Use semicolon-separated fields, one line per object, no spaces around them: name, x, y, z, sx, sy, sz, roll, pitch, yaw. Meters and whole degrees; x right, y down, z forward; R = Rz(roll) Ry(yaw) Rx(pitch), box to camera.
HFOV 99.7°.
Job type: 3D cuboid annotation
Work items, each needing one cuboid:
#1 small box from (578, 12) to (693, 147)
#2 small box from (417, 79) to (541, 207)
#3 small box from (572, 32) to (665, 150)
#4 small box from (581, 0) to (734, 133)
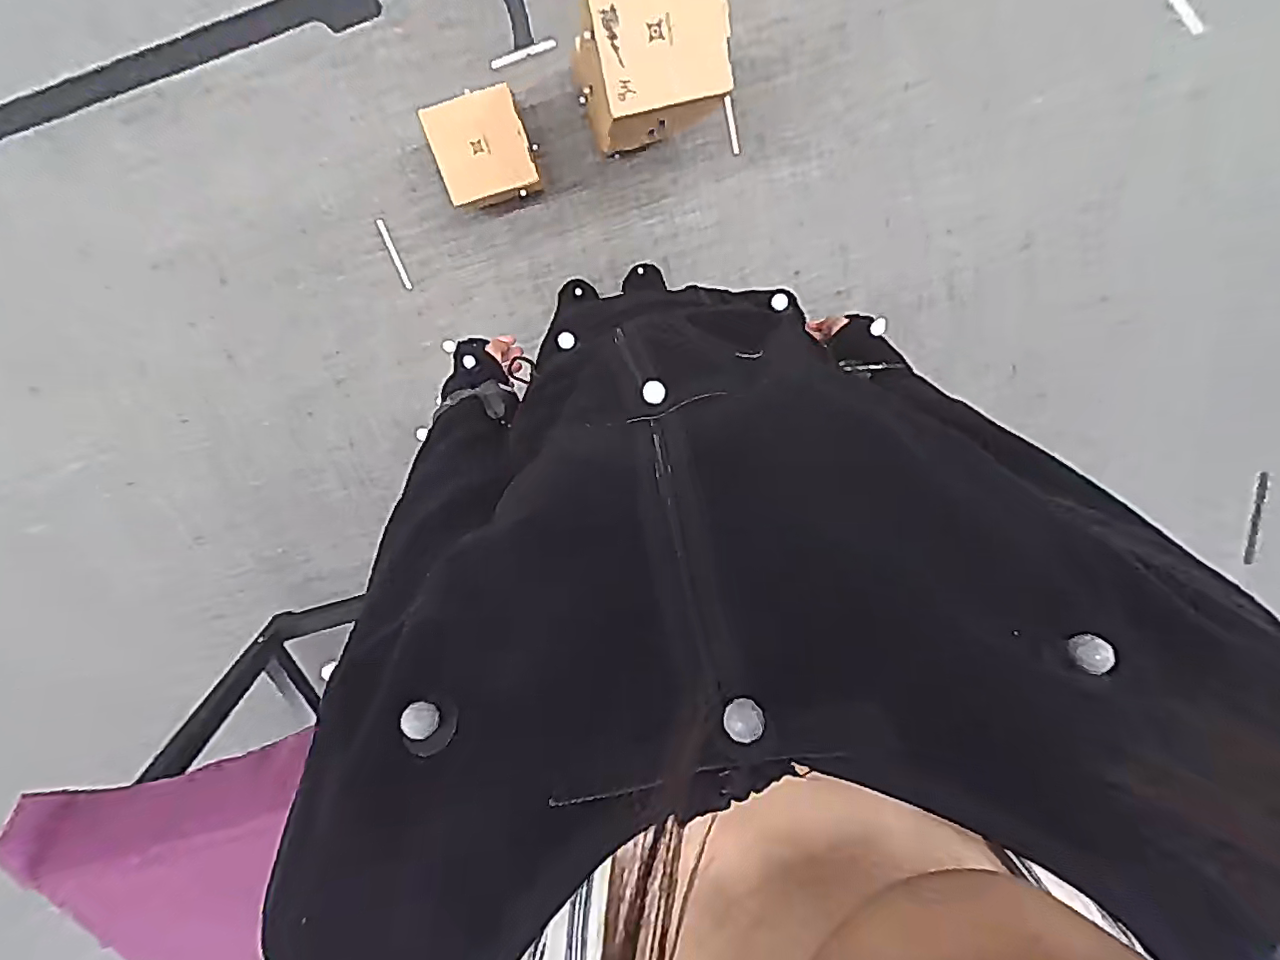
small box;0.001;-0.688;0.918;0.179;0.176;0.168;-16;116;0
small box;-0.309;-0.659;1.079;0.179;0.176;0.168;-17;115;1
small box;-0.026;-0.770;1.060;0.168;0.176;0.179;-18;115;1
small box;0.019;-0.617;0.772;0.179;0.176;0.168;-14;116;-2
